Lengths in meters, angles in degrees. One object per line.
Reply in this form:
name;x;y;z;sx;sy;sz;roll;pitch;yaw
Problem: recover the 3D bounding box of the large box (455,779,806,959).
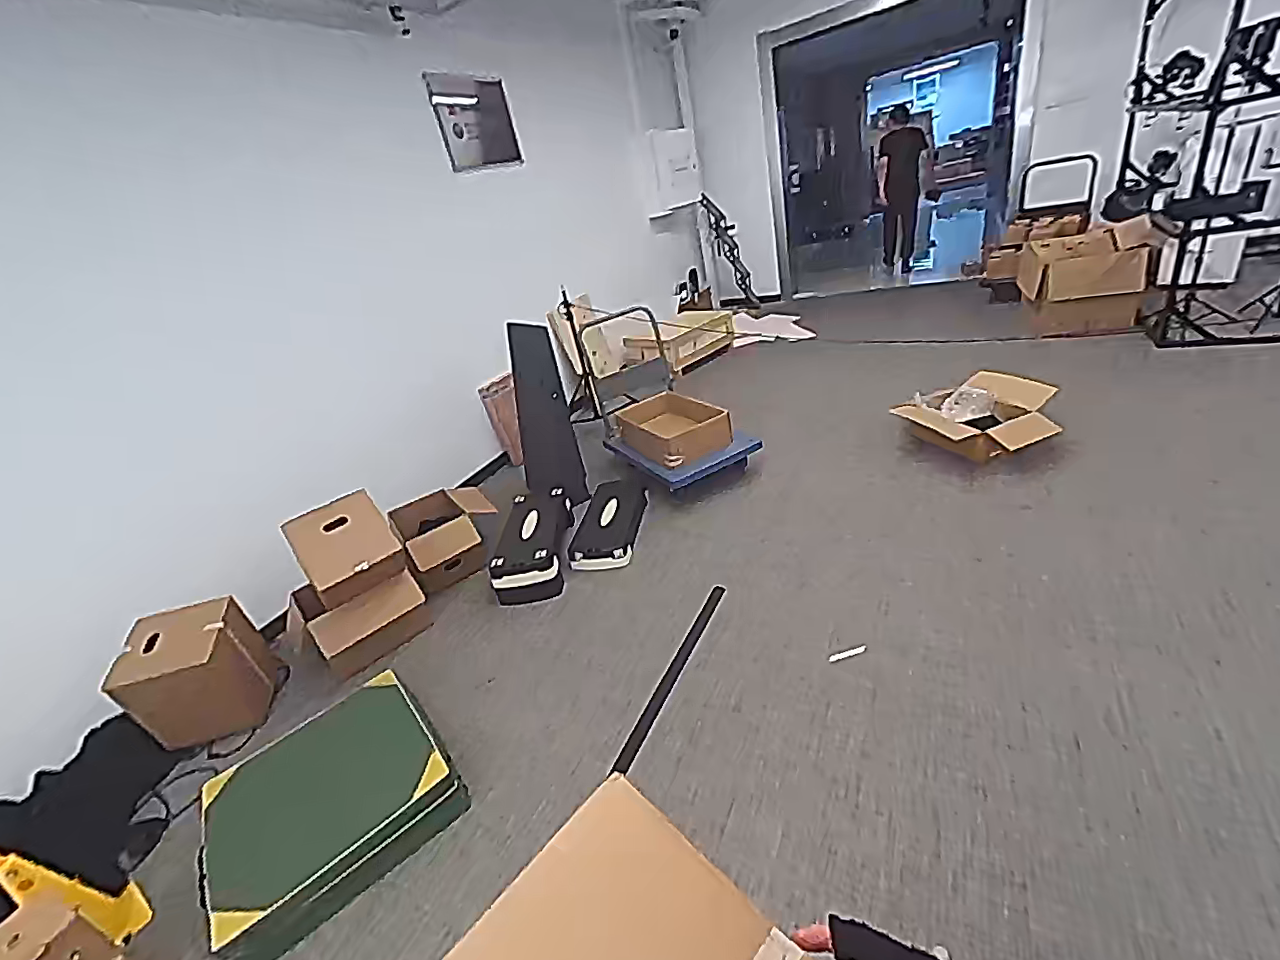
large box;-0.030;0.512;0.339;0.320;0.320;0.408;29;51;34
